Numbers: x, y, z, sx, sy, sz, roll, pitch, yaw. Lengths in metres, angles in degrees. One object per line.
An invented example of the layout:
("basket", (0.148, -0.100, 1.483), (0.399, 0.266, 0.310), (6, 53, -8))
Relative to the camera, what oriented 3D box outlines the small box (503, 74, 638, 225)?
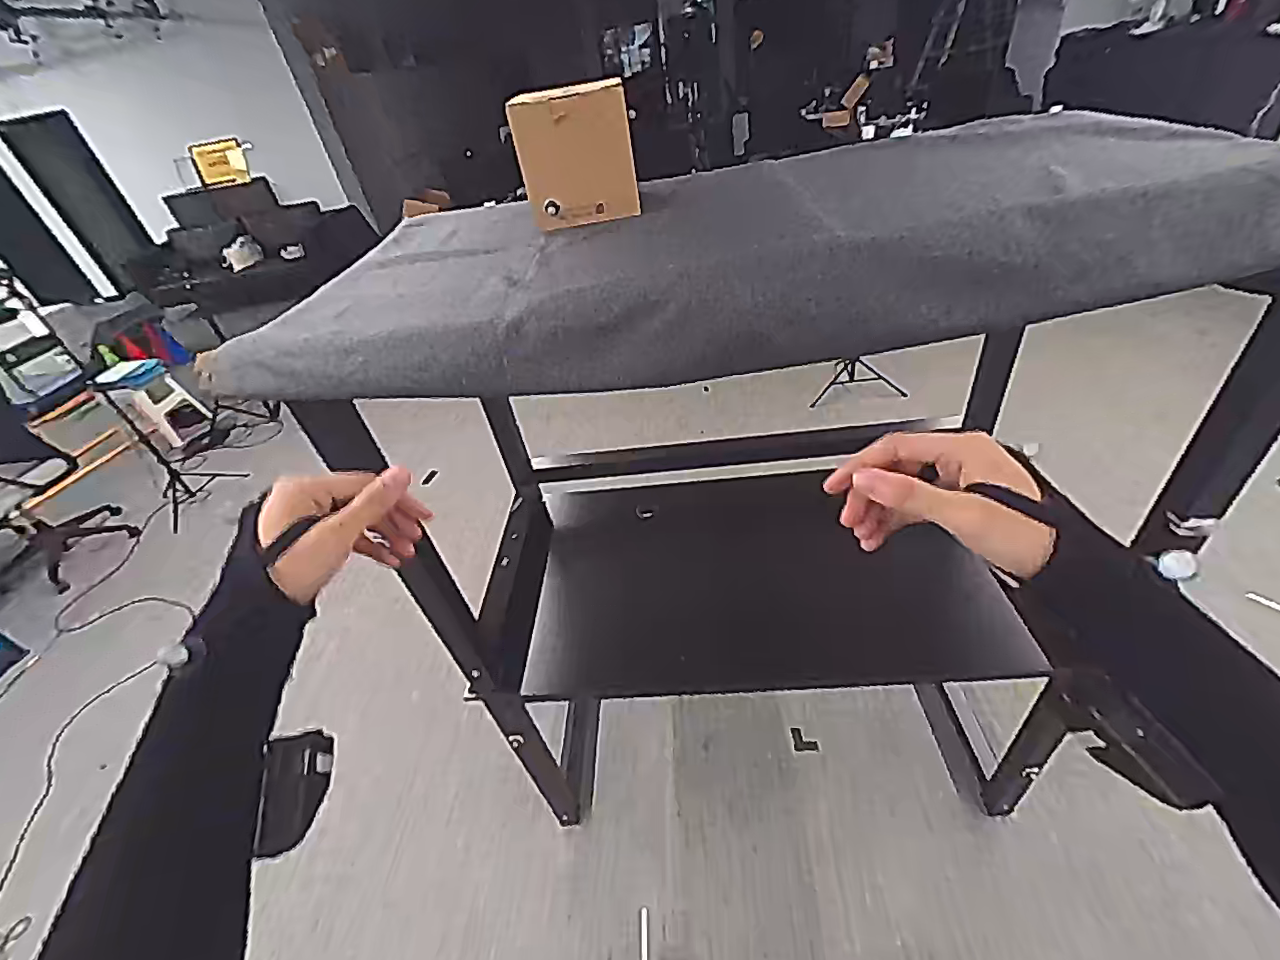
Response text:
("small box", (-0.097, -0.510, 0.842), (0.168, 0.176, 0.179), (-8, 39, 3))
